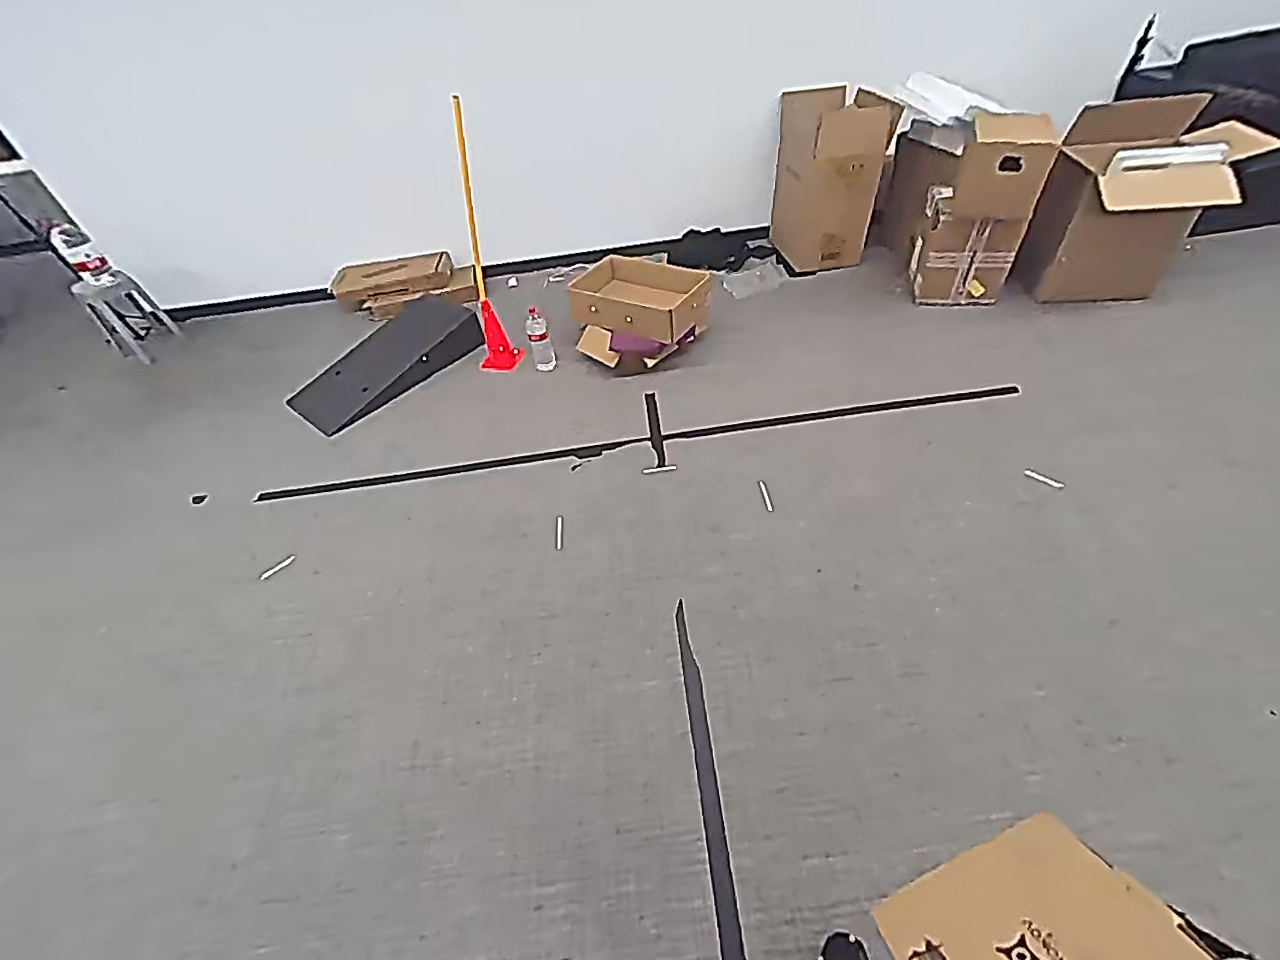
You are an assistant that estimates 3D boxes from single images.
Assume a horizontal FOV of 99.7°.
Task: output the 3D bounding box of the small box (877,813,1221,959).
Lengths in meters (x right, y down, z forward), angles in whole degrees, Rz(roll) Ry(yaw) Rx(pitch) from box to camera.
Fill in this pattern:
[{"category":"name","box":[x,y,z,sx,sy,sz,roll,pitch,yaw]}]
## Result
[{"category":"small box","box":[0.317,0.402,0.392,0.179,0.176,0.168,-27,6,0]}]
